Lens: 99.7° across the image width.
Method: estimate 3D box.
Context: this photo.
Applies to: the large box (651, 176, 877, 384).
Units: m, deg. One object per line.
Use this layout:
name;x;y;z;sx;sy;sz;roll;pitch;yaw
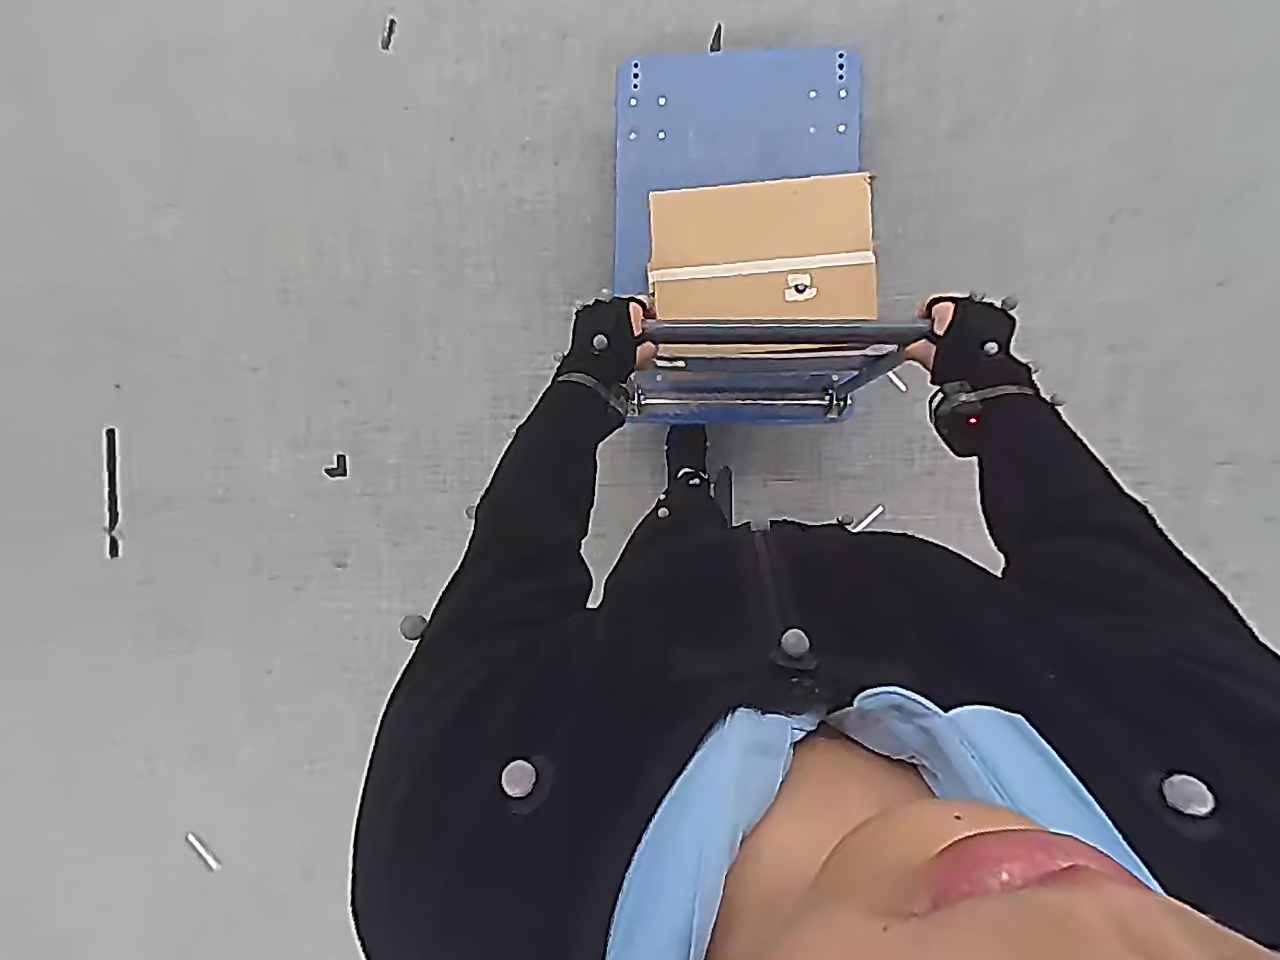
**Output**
large box;0.238;-0.397;1.157;0.408;0.320;0.320;-4;92;3
